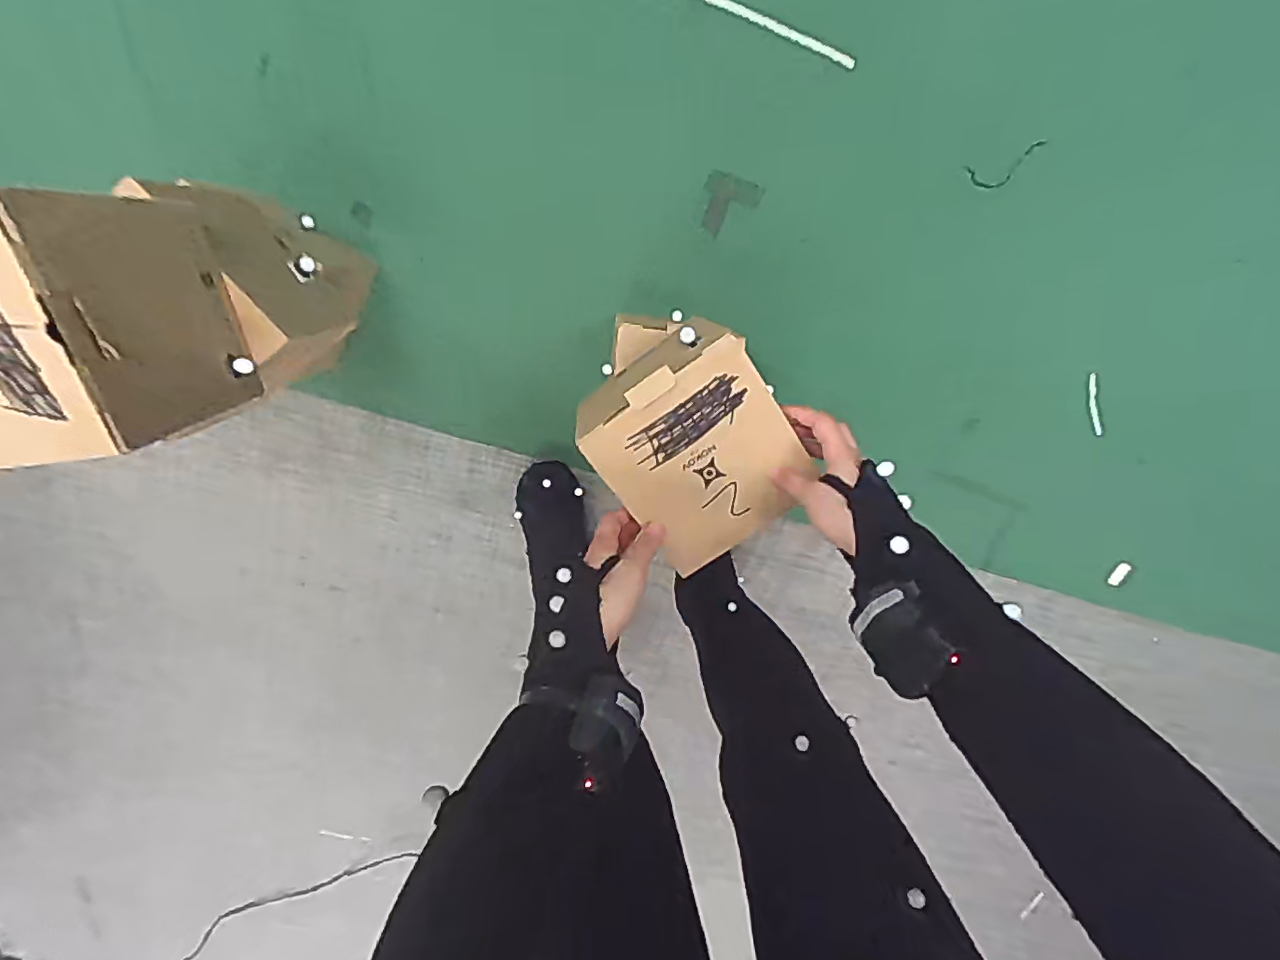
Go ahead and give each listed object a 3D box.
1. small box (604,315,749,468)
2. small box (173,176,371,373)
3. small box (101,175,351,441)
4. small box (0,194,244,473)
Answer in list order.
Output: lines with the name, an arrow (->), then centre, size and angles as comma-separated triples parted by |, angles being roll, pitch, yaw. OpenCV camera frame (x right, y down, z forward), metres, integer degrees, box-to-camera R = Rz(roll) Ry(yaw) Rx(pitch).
small box -> 0.039, -0.133, 0.773 | 0.168, 0.176, 0.179 | 6, 111, -7
small box -> -0.479, -0.248, 0.694 | 0.168, 0.176, 0.179 | 31, 107, -16
small box -> -0.441, -0.172, 0.552 | 0.179, 0.176, 0.168 | -34, 112, 10
small box -> -0.440, -0.111, 0.399 | 0.179, 0.176, 0.168 | -6, 114, 0
